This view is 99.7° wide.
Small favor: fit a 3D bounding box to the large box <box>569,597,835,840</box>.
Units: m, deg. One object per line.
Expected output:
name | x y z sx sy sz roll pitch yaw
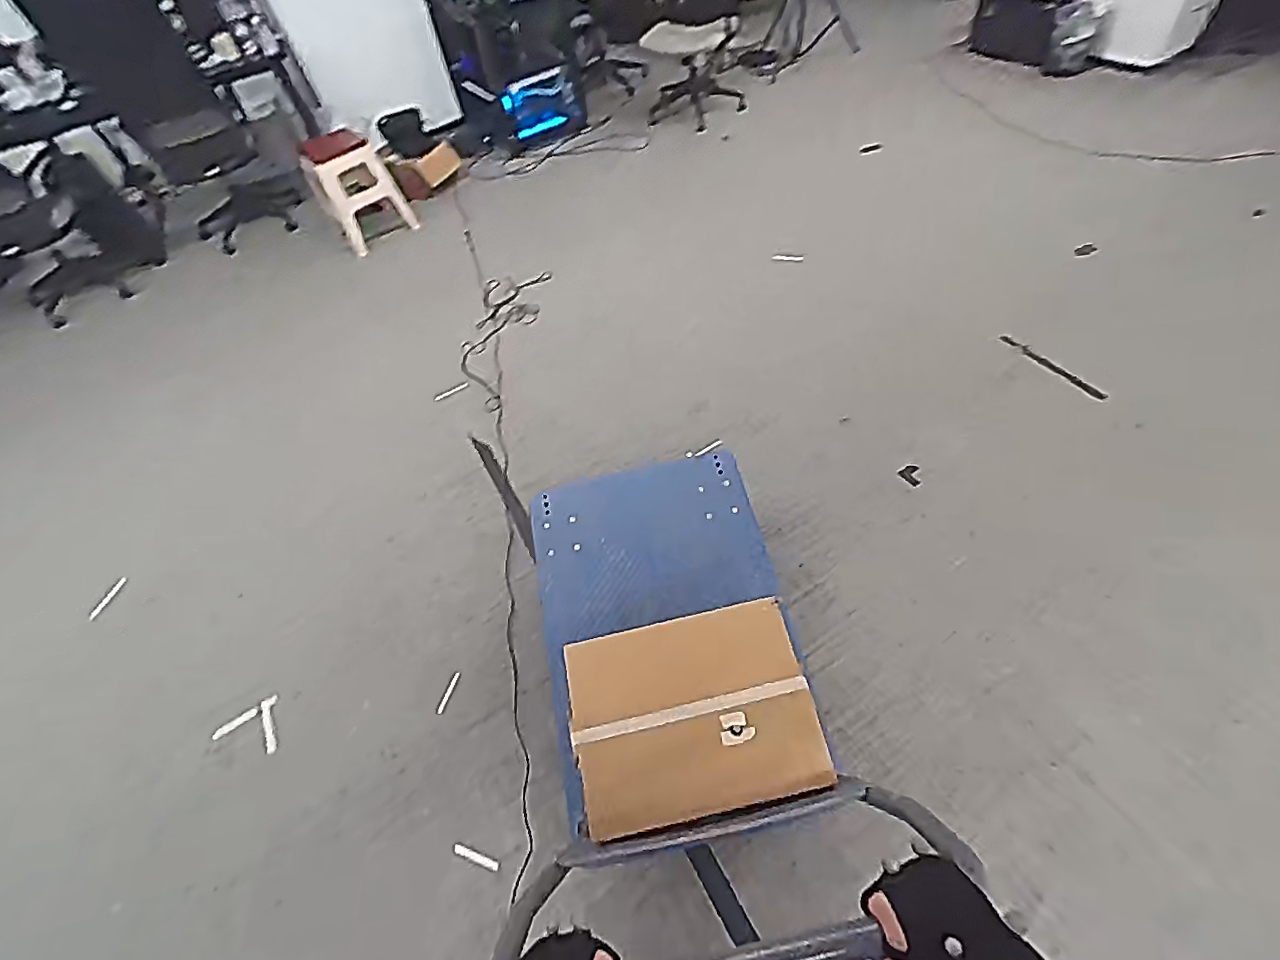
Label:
large box | 0.104 0.468 1.070 0.408 0.320 0.320 -14 63 -2
